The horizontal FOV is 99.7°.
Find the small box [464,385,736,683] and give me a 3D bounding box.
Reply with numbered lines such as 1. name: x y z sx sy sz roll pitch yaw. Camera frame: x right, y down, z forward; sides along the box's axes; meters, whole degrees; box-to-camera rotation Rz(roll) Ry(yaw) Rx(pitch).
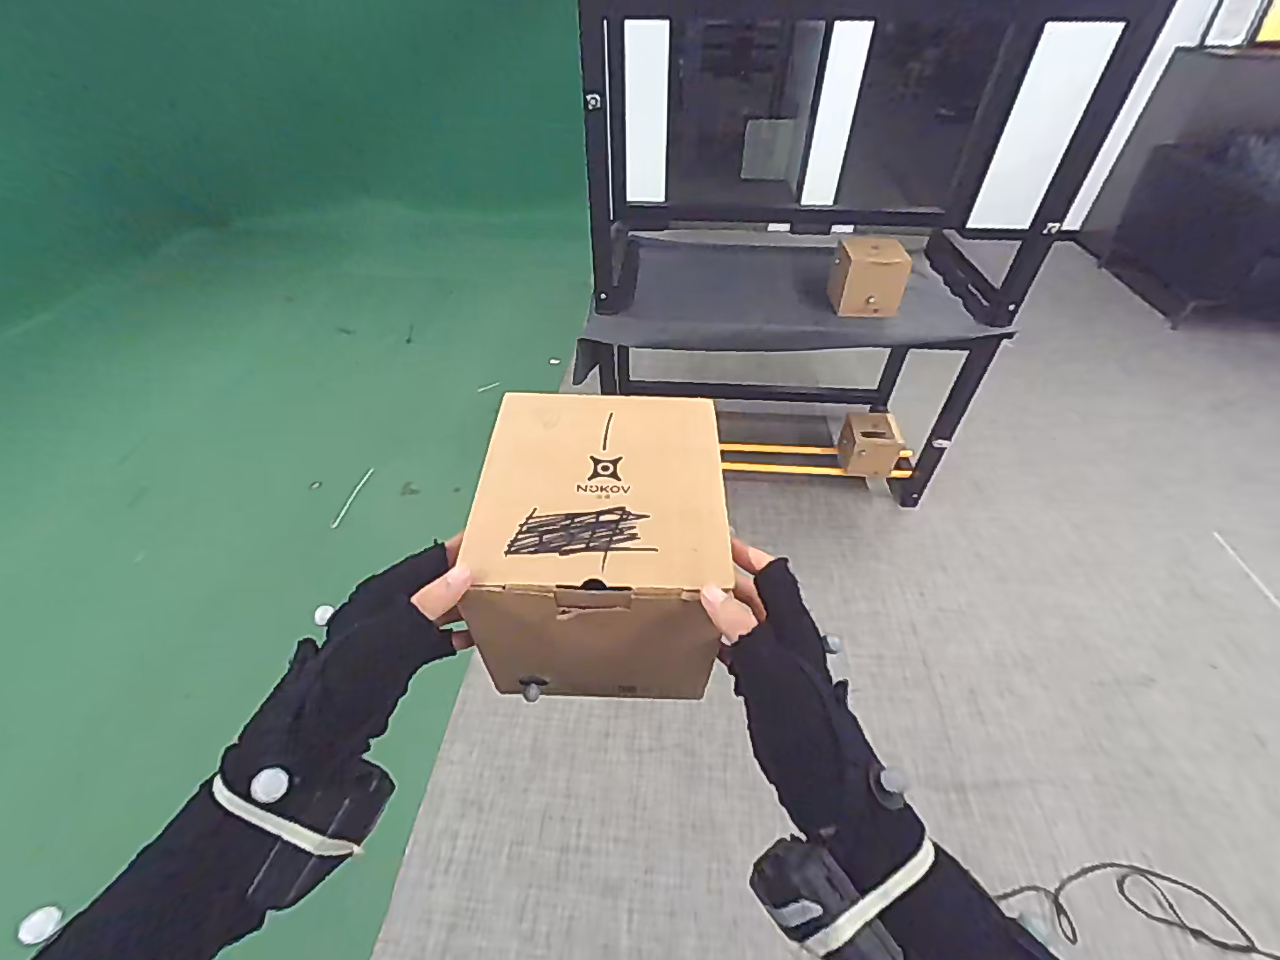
1. small box: -0.023 0.046 0.430 0.168 0.176 0.179 2 46 -1

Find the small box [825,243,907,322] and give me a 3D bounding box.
1. small box: 0.661 -0.587 1.605 0.168 0.176 0.179 2 42 3
